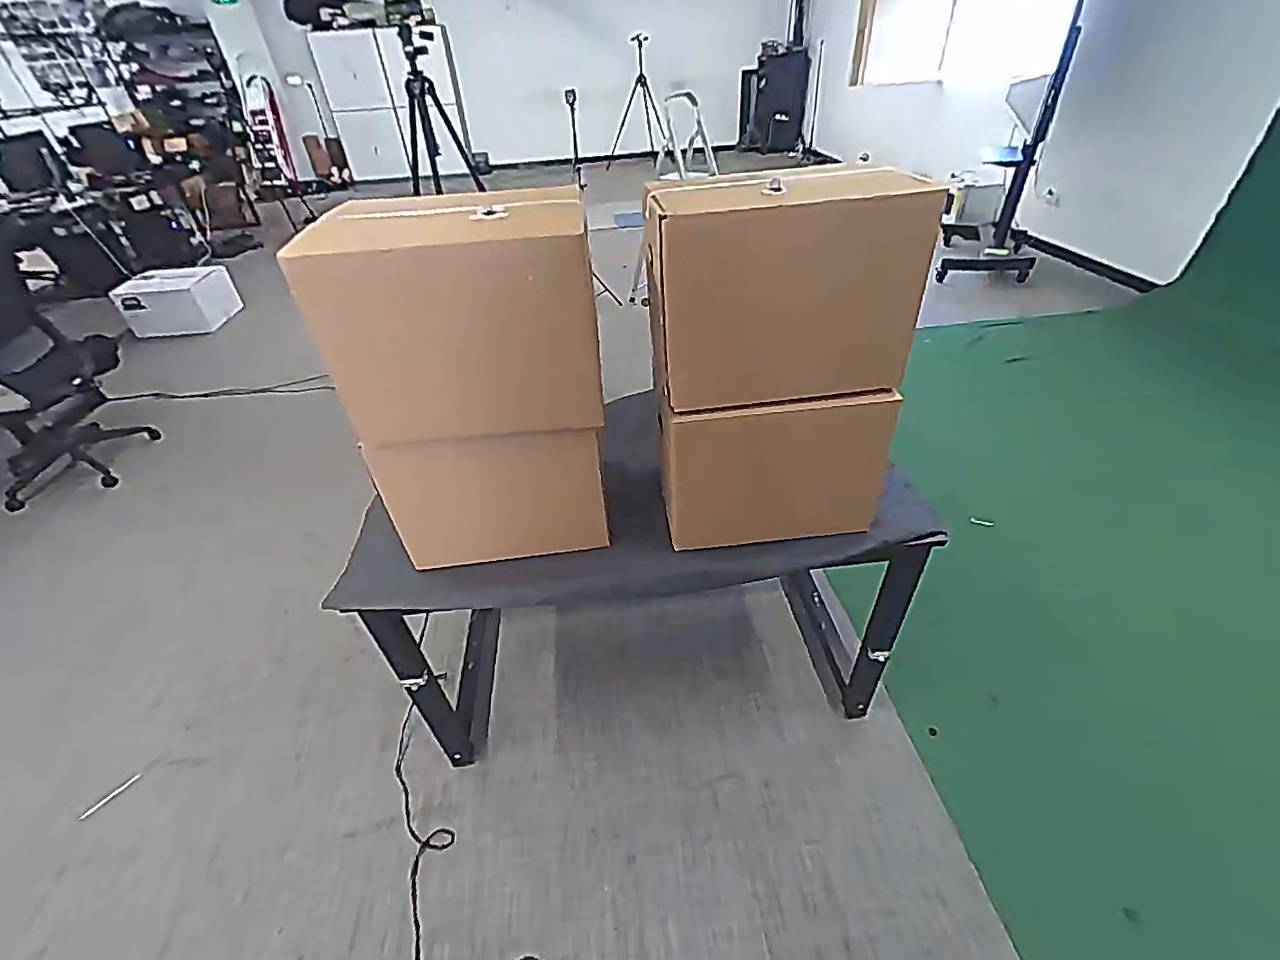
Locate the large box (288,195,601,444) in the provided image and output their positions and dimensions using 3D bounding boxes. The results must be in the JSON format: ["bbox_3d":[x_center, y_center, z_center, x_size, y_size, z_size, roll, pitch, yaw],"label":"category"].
[{"bbox_3d":[-0.281,-0.282,0.926,0.408,0.320,0.320,-4,40,-4],"label":"large box"}]
